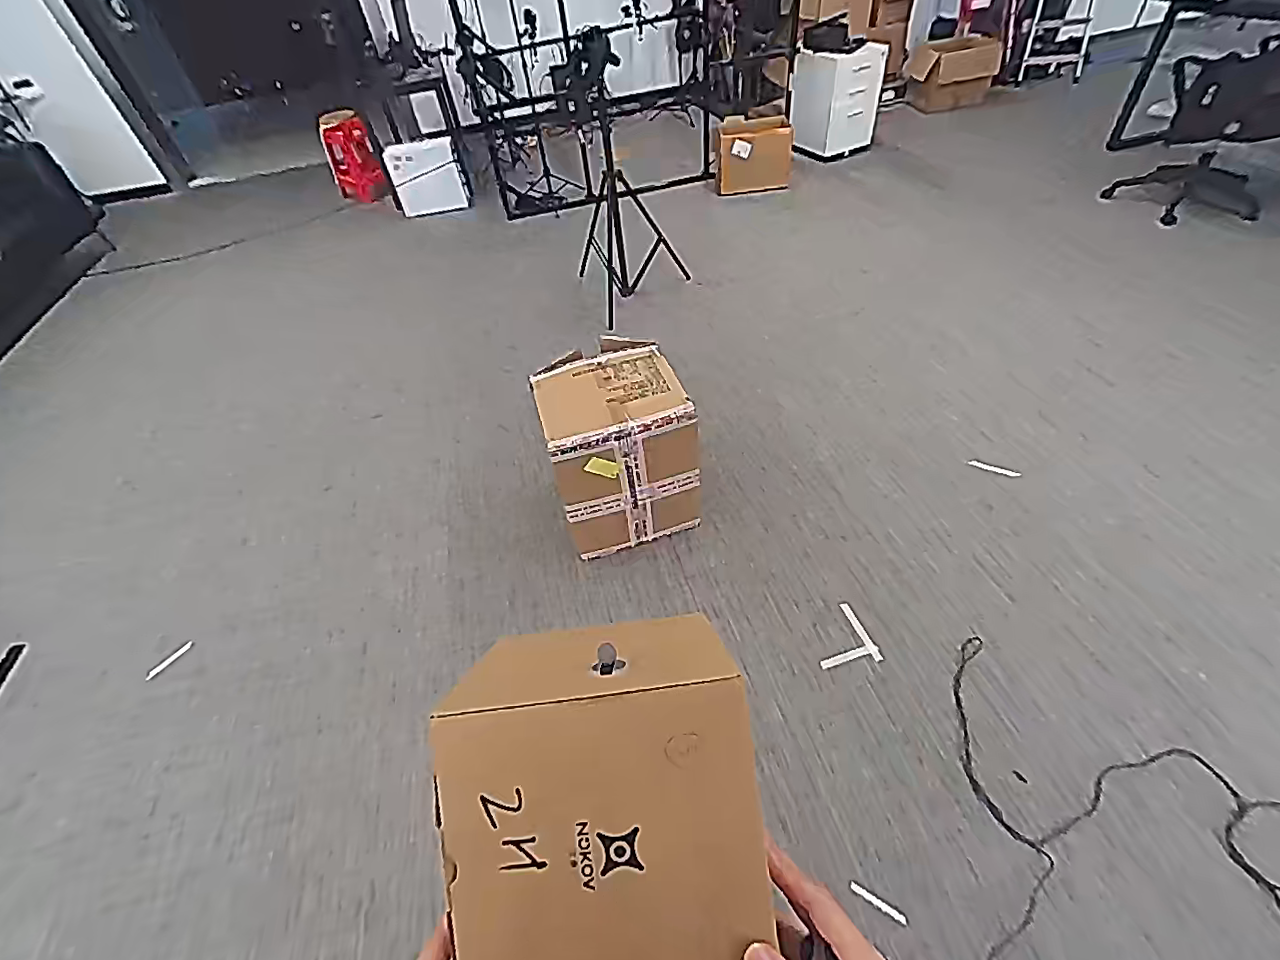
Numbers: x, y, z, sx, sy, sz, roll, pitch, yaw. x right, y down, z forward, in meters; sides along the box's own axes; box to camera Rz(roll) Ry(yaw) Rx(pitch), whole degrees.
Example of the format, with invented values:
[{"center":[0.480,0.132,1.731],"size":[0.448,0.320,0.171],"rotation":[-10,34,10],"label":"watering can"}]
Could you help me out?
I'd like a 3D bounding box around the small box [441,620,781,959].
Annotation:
[{"center":[-0.018,0.203,0.378],"size":[0.179,0.176,0.168],"rotation":[-7,87,-1],"label":"small box"}]
